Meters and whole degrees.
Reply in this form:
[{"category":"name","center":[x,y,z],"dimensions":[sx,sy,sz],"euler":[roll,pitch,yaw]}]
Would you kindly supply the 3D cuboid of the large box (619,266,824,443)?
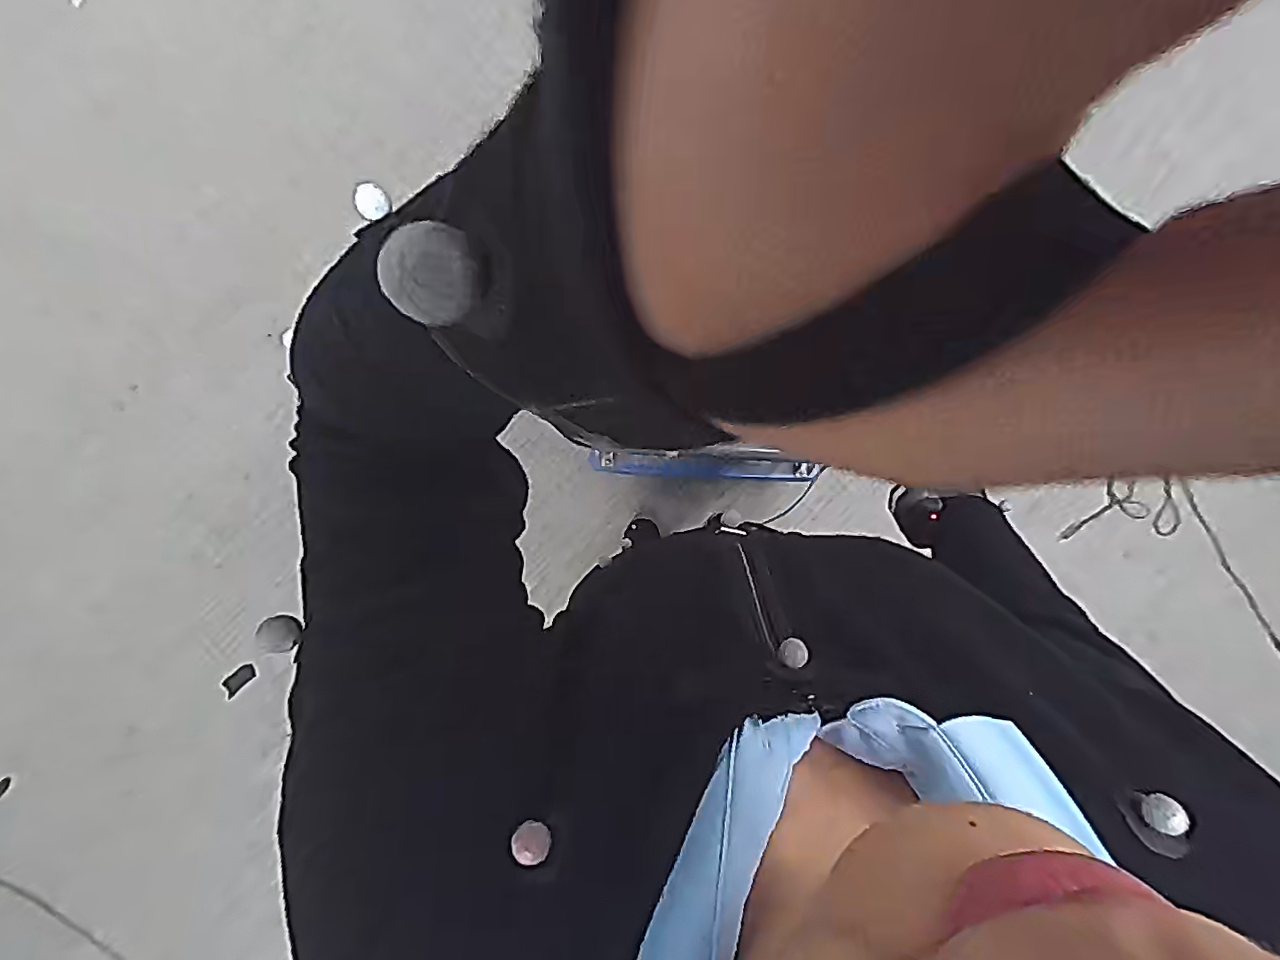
[{"category":"large box","center":[0.162,-0.259,1.215],"dimensions":[0.408,0.320,0.320],"euler":[3,87,1]}]
